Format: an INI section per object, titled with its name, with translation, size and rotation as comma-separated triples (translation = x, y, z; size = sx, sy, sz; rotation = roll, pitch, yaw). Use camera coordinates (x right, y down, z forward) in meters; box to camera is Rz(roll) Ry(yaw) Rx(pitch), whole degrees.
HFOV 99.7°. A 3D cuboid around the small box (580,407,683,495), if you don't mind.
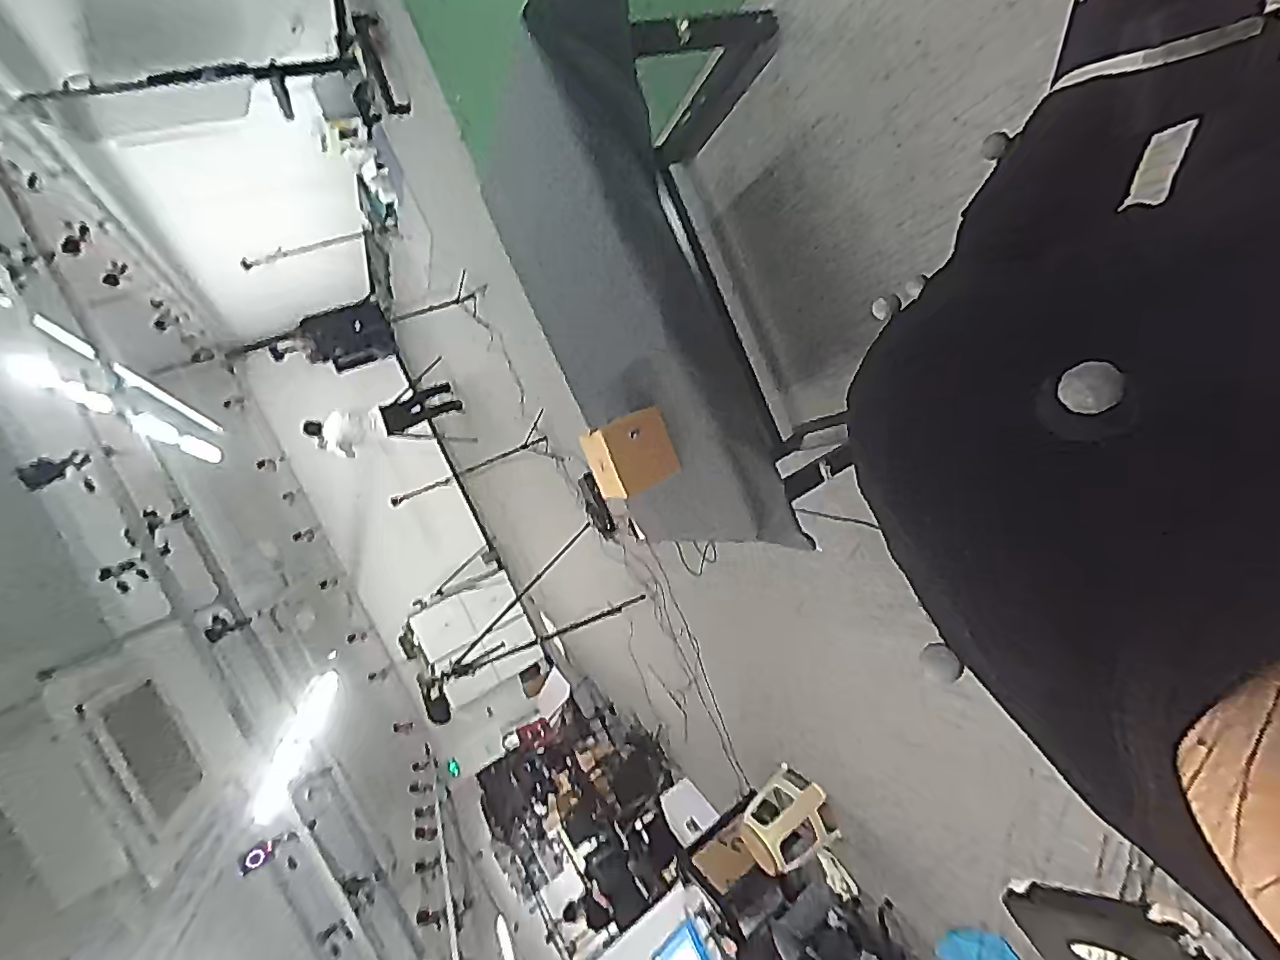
[small box]
translation = -0.022, -0.075, 1.362
size = 0.168, 0.176, 0.179
rotation = -1, 114, 65
